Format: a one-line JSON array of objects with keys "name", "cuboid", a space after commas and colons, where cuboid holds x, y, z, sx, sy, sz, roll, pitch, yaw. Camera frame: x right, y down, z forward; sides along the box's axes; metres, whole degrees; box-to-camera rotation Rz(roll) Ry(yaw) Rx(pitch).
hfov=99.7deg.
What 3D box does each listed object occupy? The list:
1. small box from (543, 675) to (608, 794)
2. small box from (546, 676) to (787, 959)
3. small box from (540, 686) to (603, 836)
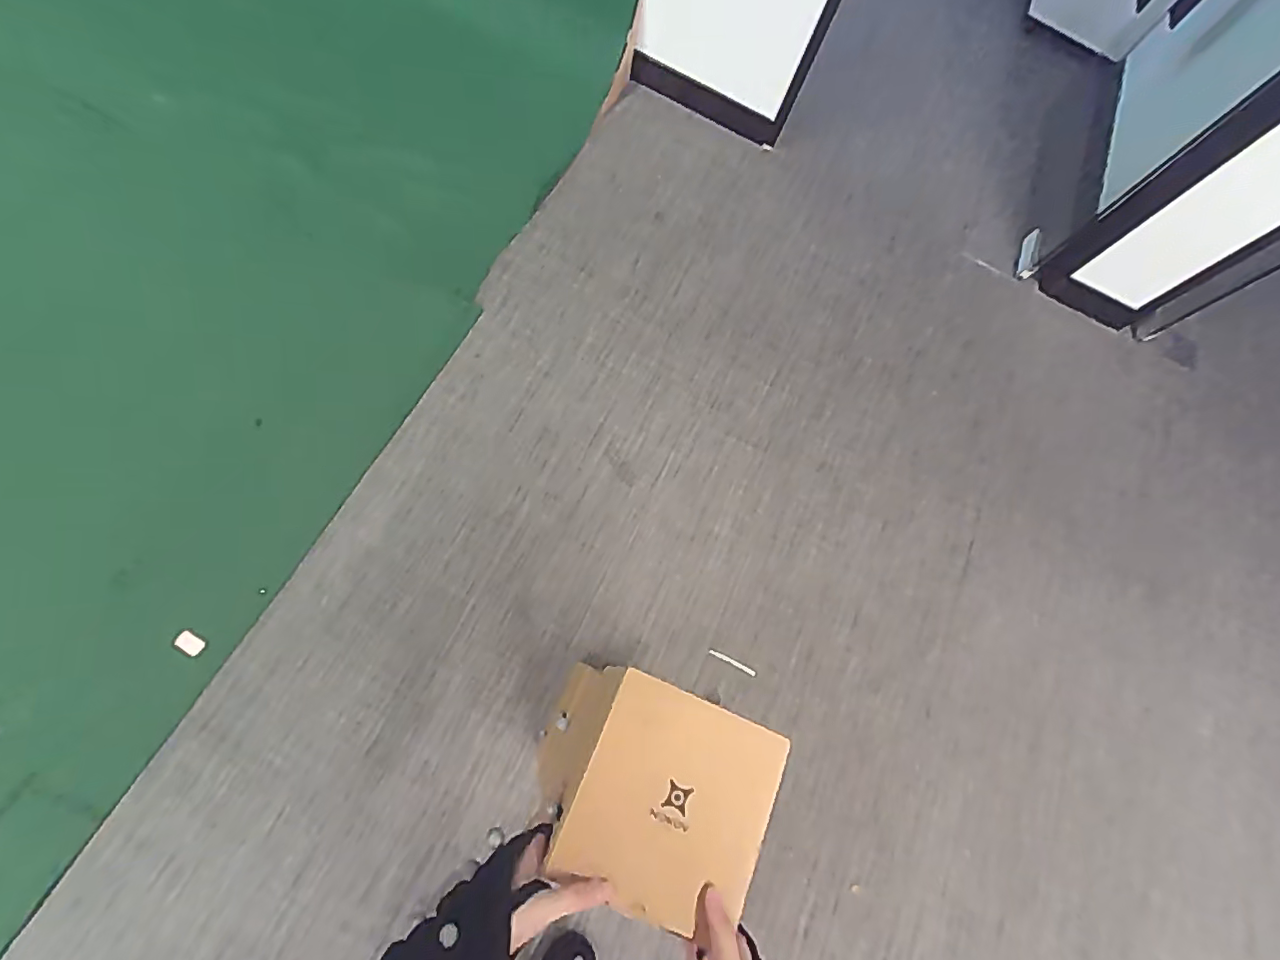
[{"name": "small box", "cuboid": [-0.043, 0.417, 0.842, 0.168, 0.176, 0.179, 23, 70, -1]}, {"name": "small box", "cuboid": [0.015, 0.309, 0.537, 0.168, 0.176, 0.179, 25, 70, -1]}, {"name": "small box", "cuboid": [-0.011, 0.373, 0.687, 0.179, 0.176, 0.168, 25, 69, 0]}]
